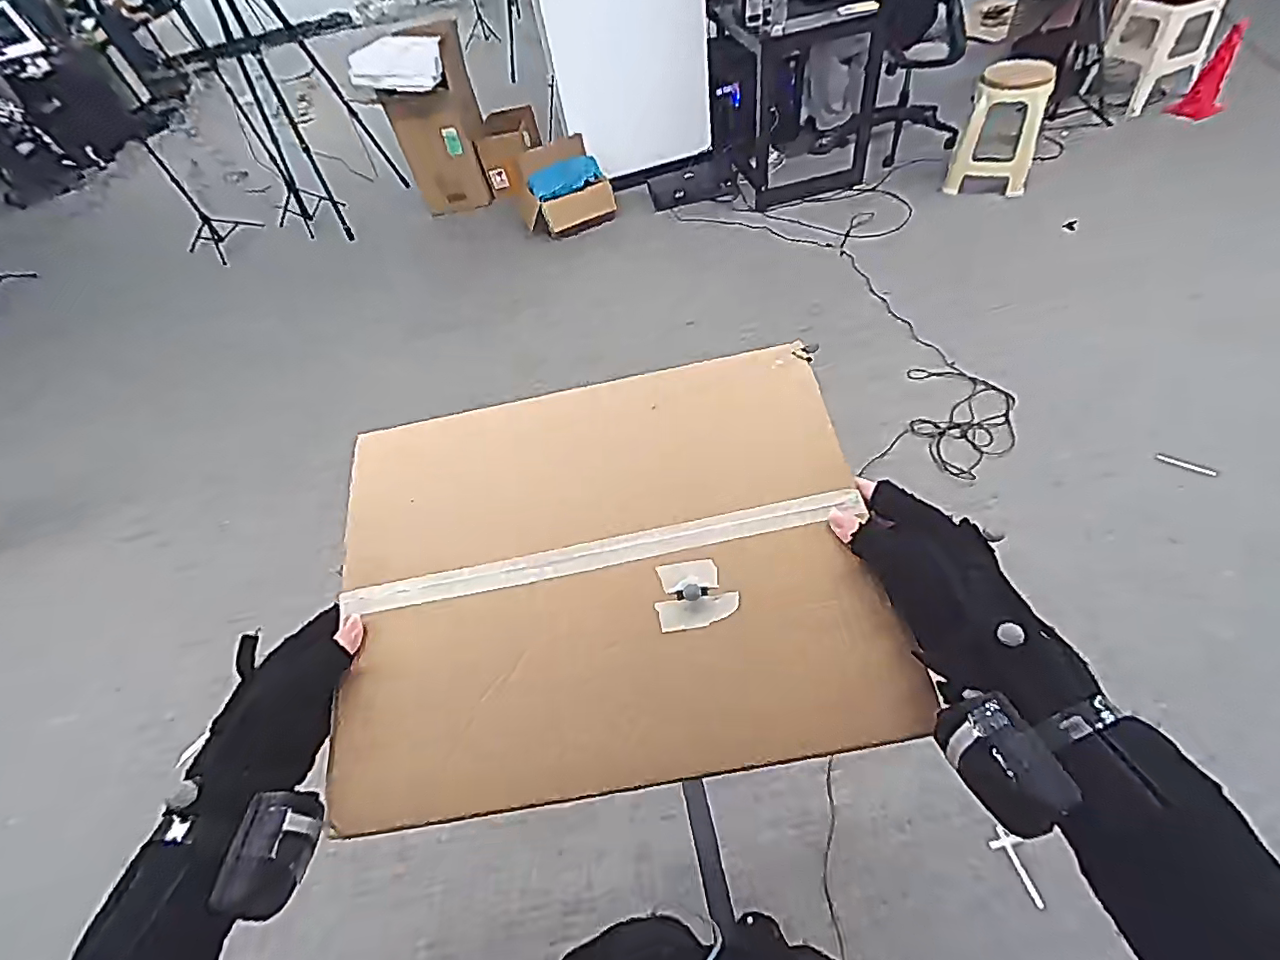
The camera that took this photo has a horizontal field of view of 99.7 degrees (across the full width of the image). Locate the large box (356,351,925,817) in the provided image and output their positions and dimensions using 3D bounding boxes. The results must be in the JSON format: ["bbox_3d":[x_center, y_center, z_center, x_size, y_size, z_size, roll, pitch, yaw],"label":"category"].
[{"bbox_3d":[-0.010,0.121,0.562,0.408,0.320,0.320,-12,64,3],"label":"large box"}]
